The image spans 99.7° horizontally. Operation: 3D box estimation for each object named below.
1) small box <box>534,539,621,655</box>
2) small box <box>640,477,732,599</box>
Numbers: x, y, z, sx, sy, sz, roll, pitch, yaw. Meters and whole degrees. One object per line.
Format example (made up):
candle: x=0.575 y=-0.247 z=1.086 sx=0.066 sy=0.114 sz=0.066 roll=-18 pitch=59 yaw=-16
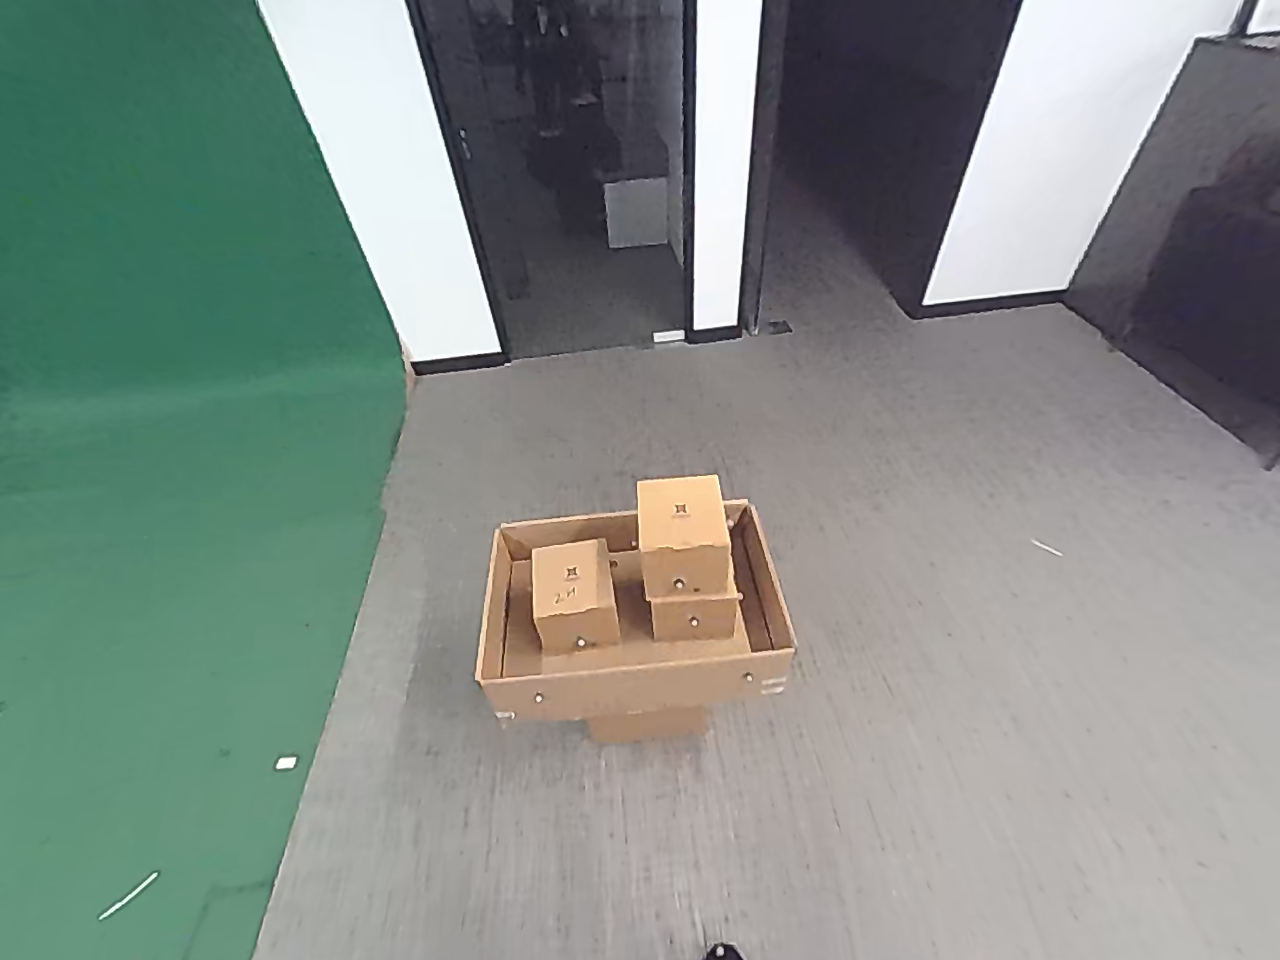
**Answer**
small box: x=-0.136 y=0.257 z=1.184 sx=0.168 sy=0.176 sz=0.179 roll=-8 pitch=45 yaw=-4
small box: x=0.085 y=0.117 z=1.079 sx=0.168 sy=0.176 sz=0.179 roll=-4 pitch=45 yaw=2
